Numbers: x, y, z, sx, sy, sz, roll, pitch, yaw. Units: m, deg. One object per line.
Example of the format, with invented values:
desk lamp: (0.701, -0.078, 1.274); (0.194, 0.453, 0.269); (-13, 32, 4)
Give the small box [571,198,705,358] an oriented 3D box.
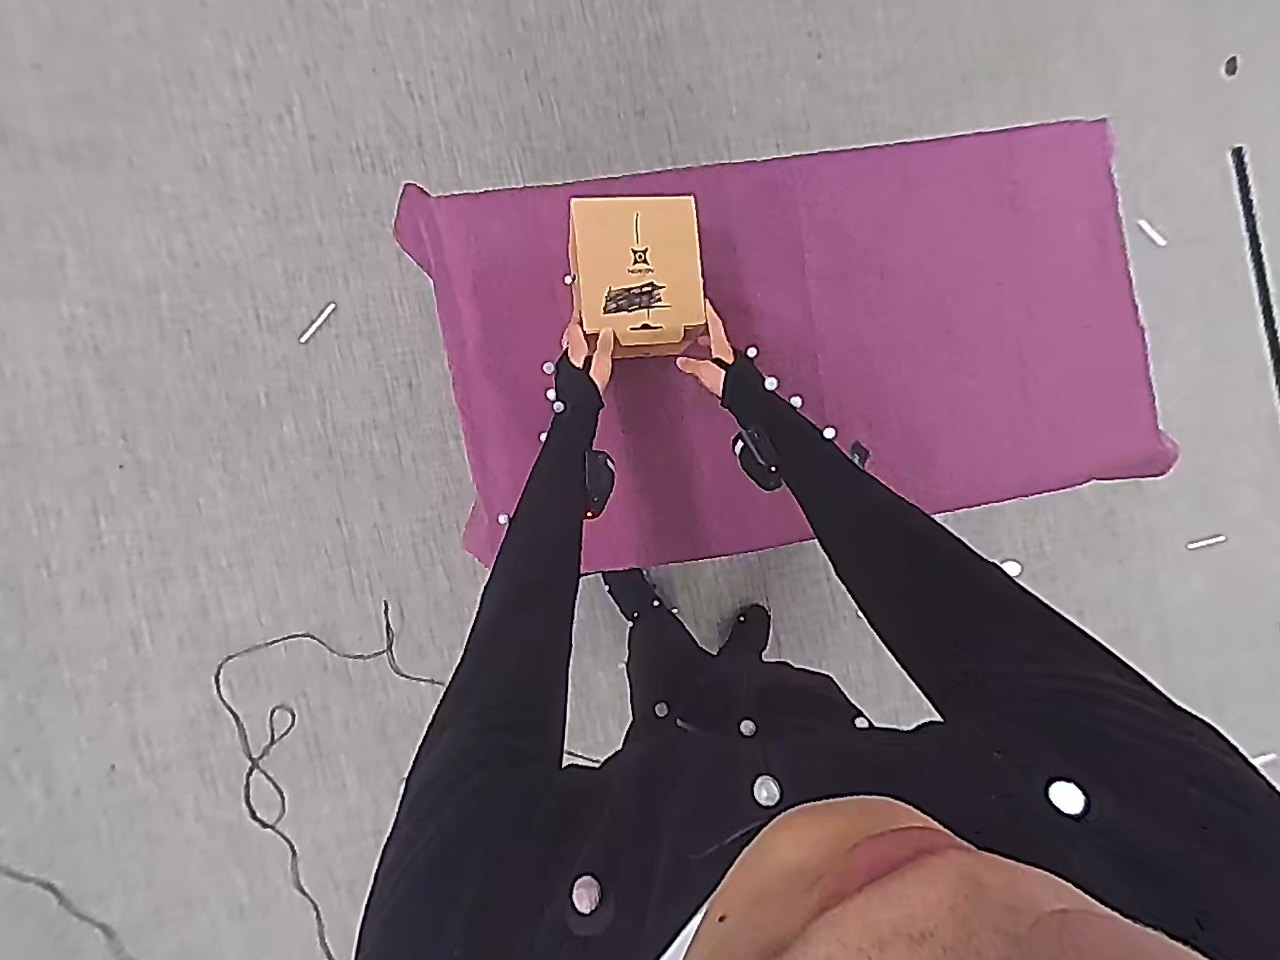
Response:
small box: (-0.011, -0.279, 0.783); (0.168, 0.176, 0.179); (-6, 91, -9)
